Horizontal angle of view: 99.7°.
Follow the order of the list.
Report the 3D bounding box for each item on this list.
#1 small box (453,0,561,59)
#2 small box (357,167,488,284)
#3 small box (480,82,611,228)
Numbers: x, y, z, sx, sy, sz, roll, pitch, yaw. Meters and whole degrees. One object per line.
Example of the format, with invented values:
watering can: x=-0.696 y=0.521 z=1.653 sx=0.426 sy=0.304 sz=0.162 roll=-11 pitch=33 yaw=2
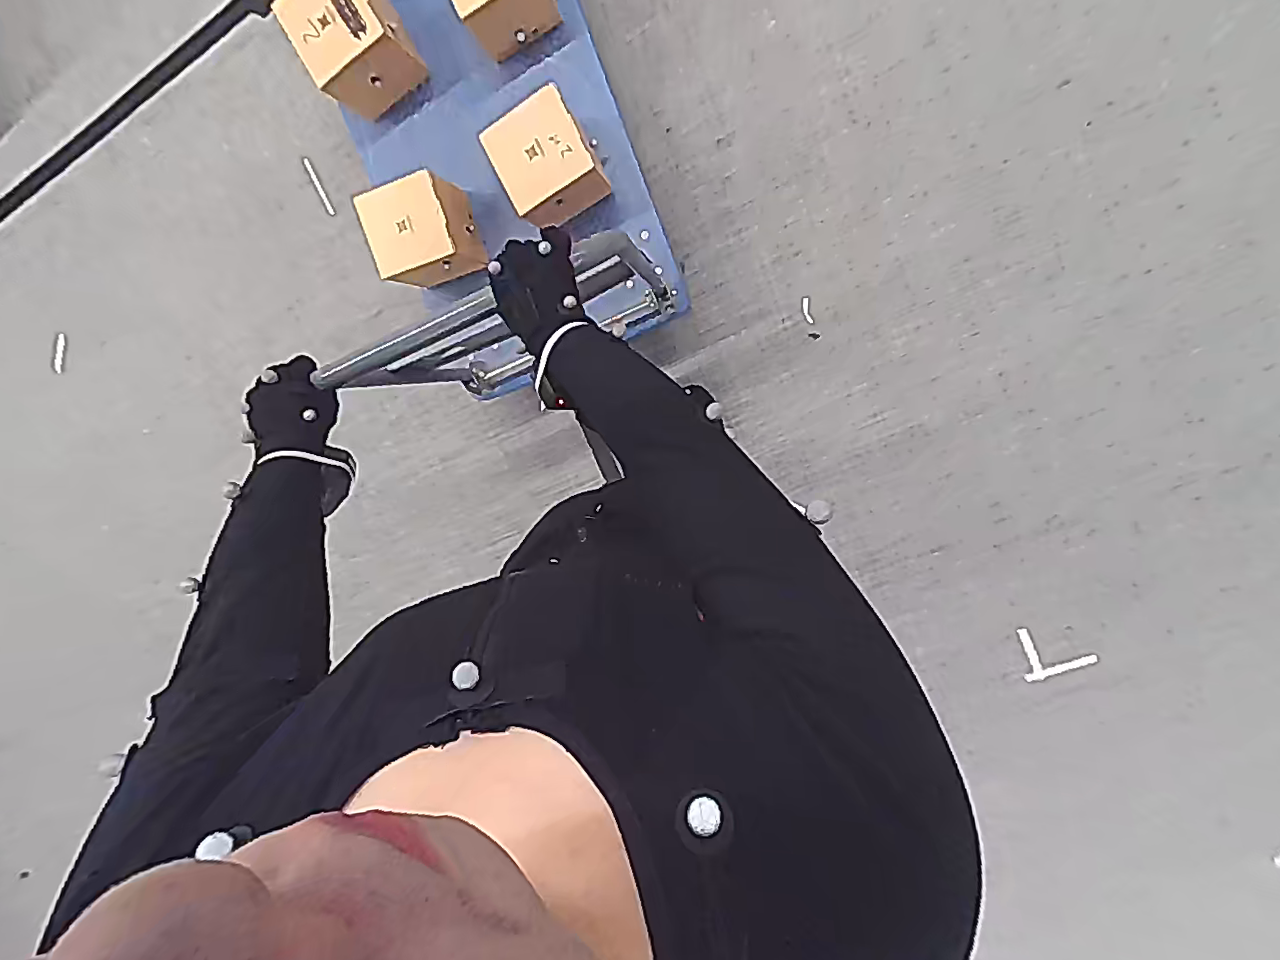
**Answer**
small box: x=-0.275 y=-0.966 z=1.028 sx=0.168 sy=0.176 sz=0.179 roll=-22 pitch=101 yaw=14
small box: x=-0.461 y=-0.536 z=1.169 sx=0.179 sy=0.176 sz=0.168 roll=-15 pitch=101 yaw=11
small box: x=-0.182 y=-0.640 z=1.095 sx=0.179 sy=0.176 sz=0.168 roll=-25 pitch=99 yaw=15
